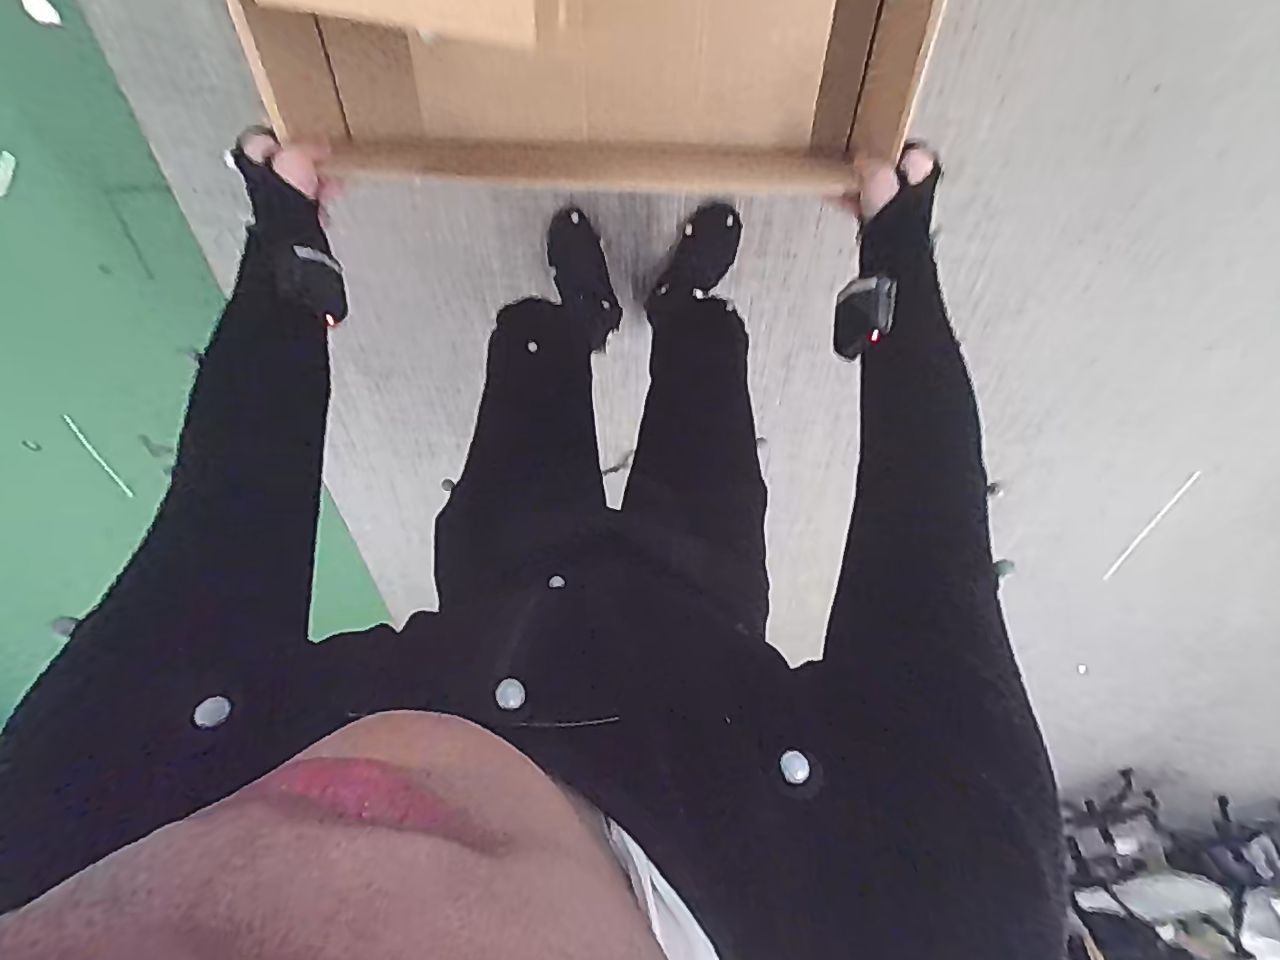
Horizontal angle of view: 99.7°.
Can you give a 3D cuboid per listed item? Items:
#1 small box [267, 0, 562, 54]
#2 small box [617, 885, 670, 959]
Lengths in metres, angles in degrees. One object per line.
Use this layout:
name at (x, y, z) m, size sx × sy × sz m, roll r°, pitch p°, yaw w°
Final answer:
small box at (-0.131, -0.384, 0.322) m, size 0.168 × 0.176 × 0.179 m, roll 6°, pitch 132°, yaw -7°
small box at (0.014, 1.439, 1.755) m, size 0.168 × 0.176 × 0.179 m, roll 0°, pitch 132°, yaw 3°
